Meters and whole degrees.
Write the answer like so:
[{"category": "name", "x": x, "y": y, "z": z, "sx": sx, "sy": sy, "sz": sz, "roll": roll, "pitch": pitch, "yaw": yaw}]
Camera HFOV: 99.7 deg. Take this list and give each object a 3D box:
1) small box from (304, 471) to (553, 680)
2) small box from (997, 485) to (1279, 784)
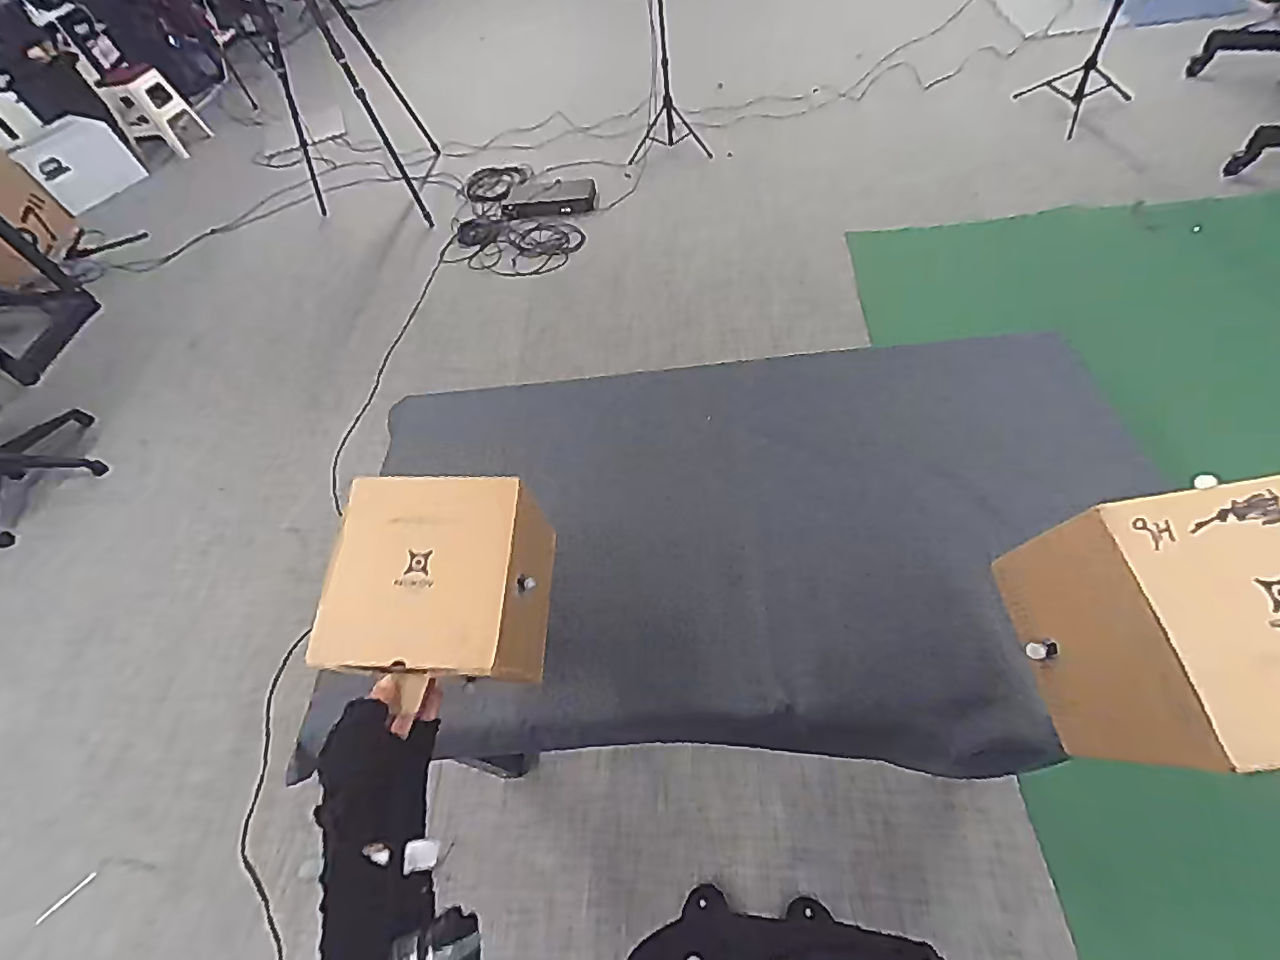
[{"category": "small box", "x": -0.191, "y": 0.105, "z": 0.551, "sx": 0.168, "sy": 0.176, "sz": 0.179, "roll": 2, "pitch": 66, "yaw": 4}, {"category": "small box", "x": 0.429, "y": 0.119, "z": 0.424, "sx": 0.168, "sy": 0.176, "sz": 0.179, "roll": -10, "pitch": 67, "yaw": 2}]
